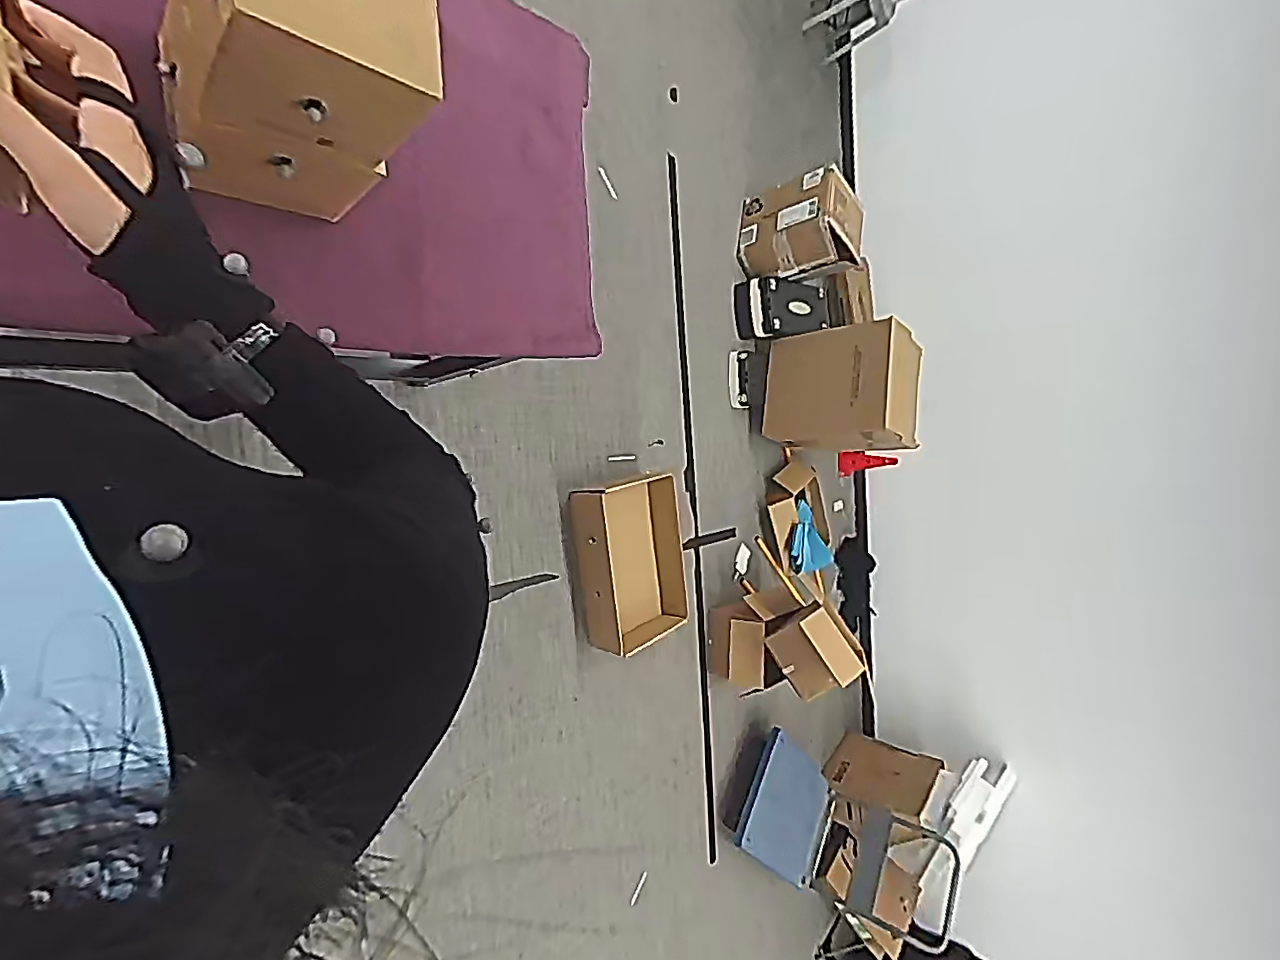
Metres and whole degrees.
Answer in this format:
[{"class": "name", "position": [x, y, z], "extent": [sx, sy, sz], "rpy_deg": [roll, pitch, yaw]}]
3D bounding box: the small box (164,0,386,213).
[{"class": "small box", "position": [-0.423, -0.435, 0.630], "extent": [0.179, 0.176, 0.168], "rpy_deg": [-7, 95, -47]}]

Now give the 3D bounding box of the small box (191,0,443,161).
[{"class": "small box", "position": [-0.307, -0.442, 0.512], "extent": [0.168, 0.176, 0.179], "rpy_deg": [-6, 94, -47]}]

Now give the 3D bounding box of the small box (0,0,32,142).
[{"class": "small box", "position": [-0.614, -0.402, 0.420], "extent": [0.179, 0.176, 0.168], "rpy_deg": [-7, 96, -48]}]
